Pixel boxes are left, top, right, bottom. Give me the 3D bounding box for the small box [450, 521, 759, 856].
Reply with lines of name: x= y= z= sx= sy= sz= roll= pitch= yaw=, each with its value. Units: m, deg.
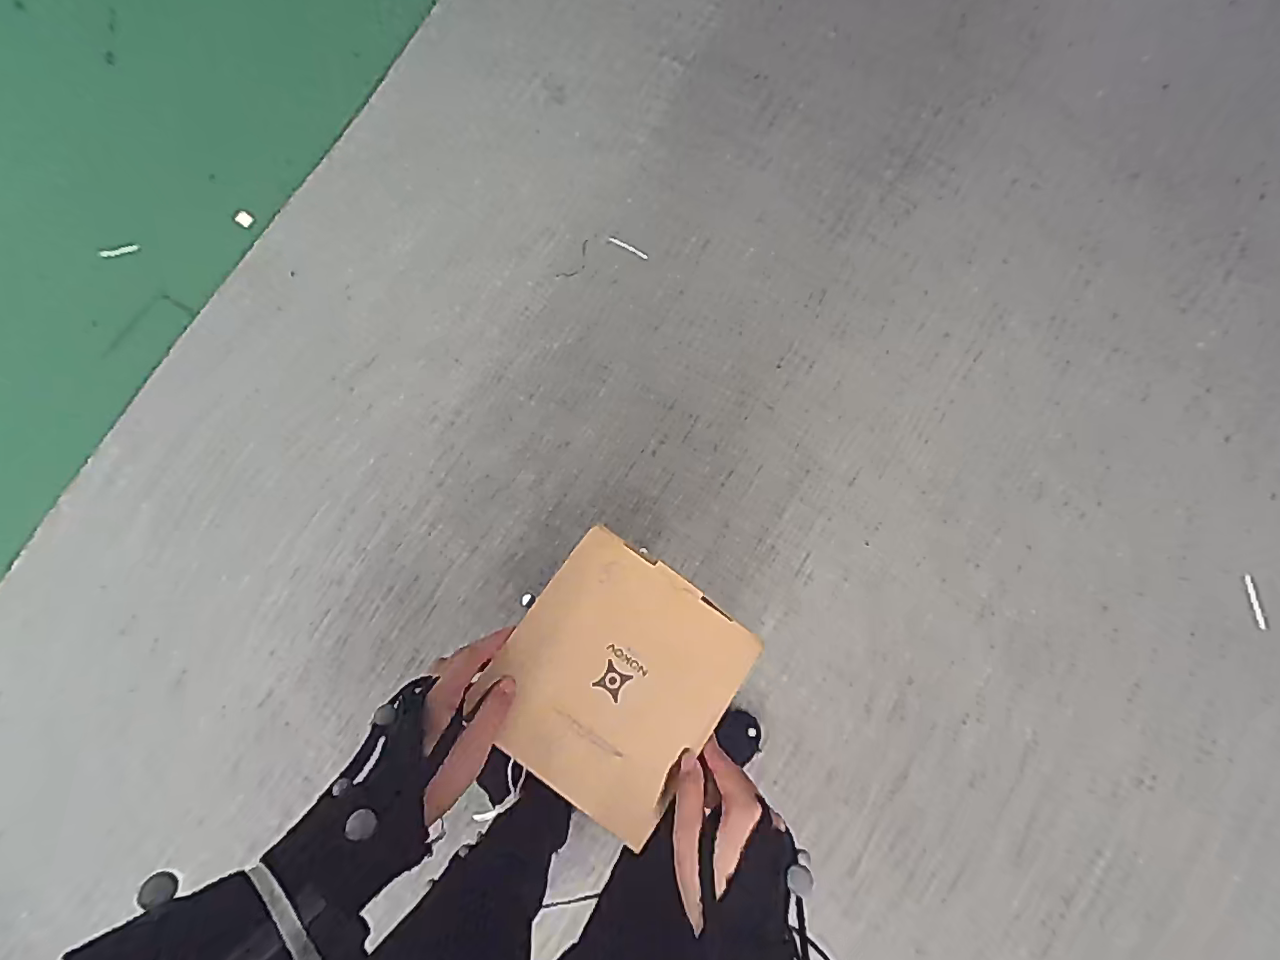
small box: x=-0.029 y=0.162 z=0.471 sx=0.168 sy=0.176 sz=0.179 roll=34 pitch=76 yaw=5
